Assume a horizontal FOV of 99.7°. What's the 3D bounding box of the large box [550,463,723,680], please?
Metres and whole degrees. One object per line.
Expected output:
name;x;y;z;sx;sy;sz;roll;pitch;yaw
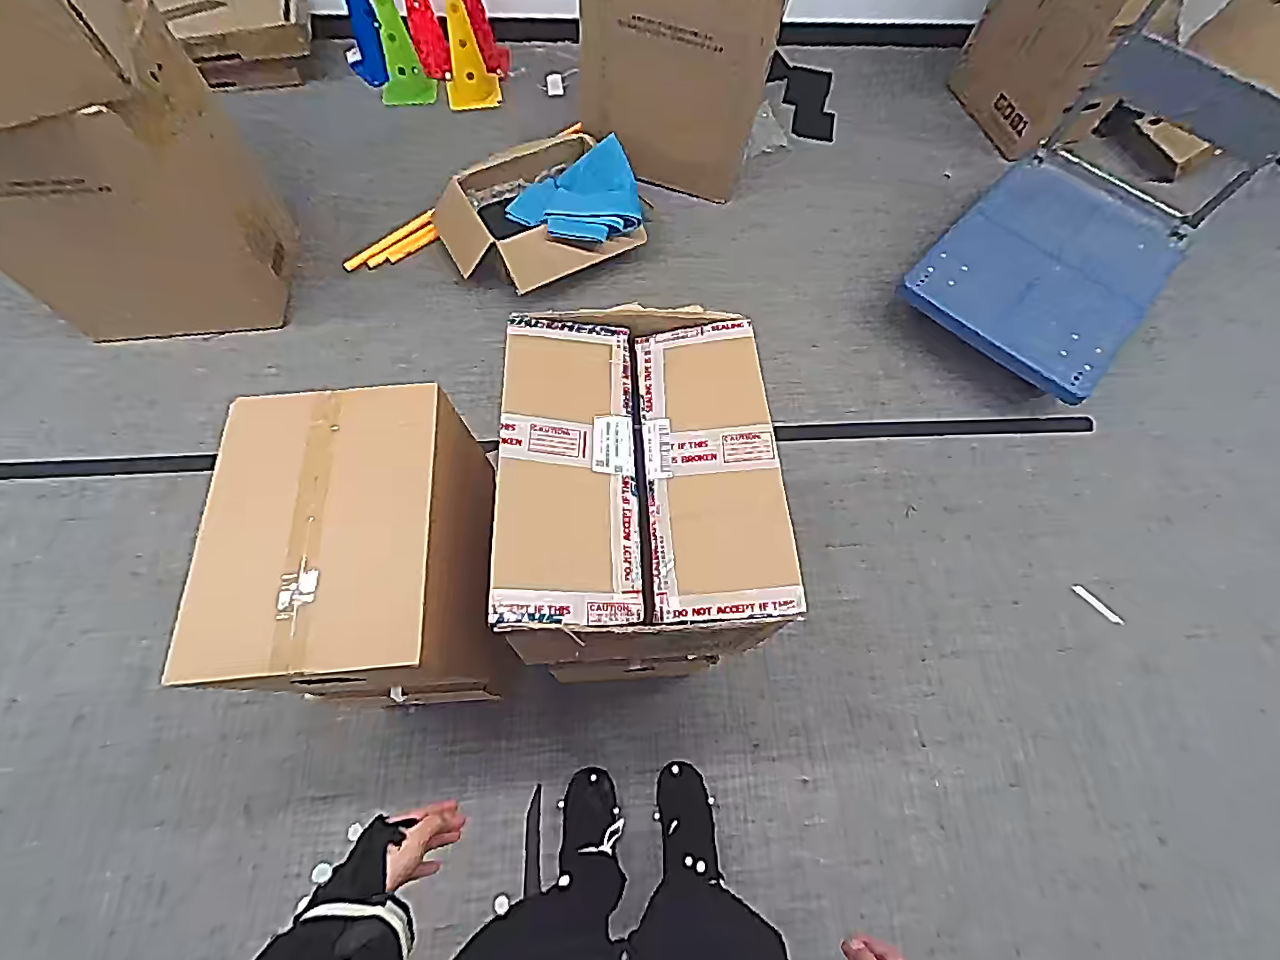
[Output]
large box;-0.026;0.210;1.194;0.320;0.320;0.408;-3;66;-4
